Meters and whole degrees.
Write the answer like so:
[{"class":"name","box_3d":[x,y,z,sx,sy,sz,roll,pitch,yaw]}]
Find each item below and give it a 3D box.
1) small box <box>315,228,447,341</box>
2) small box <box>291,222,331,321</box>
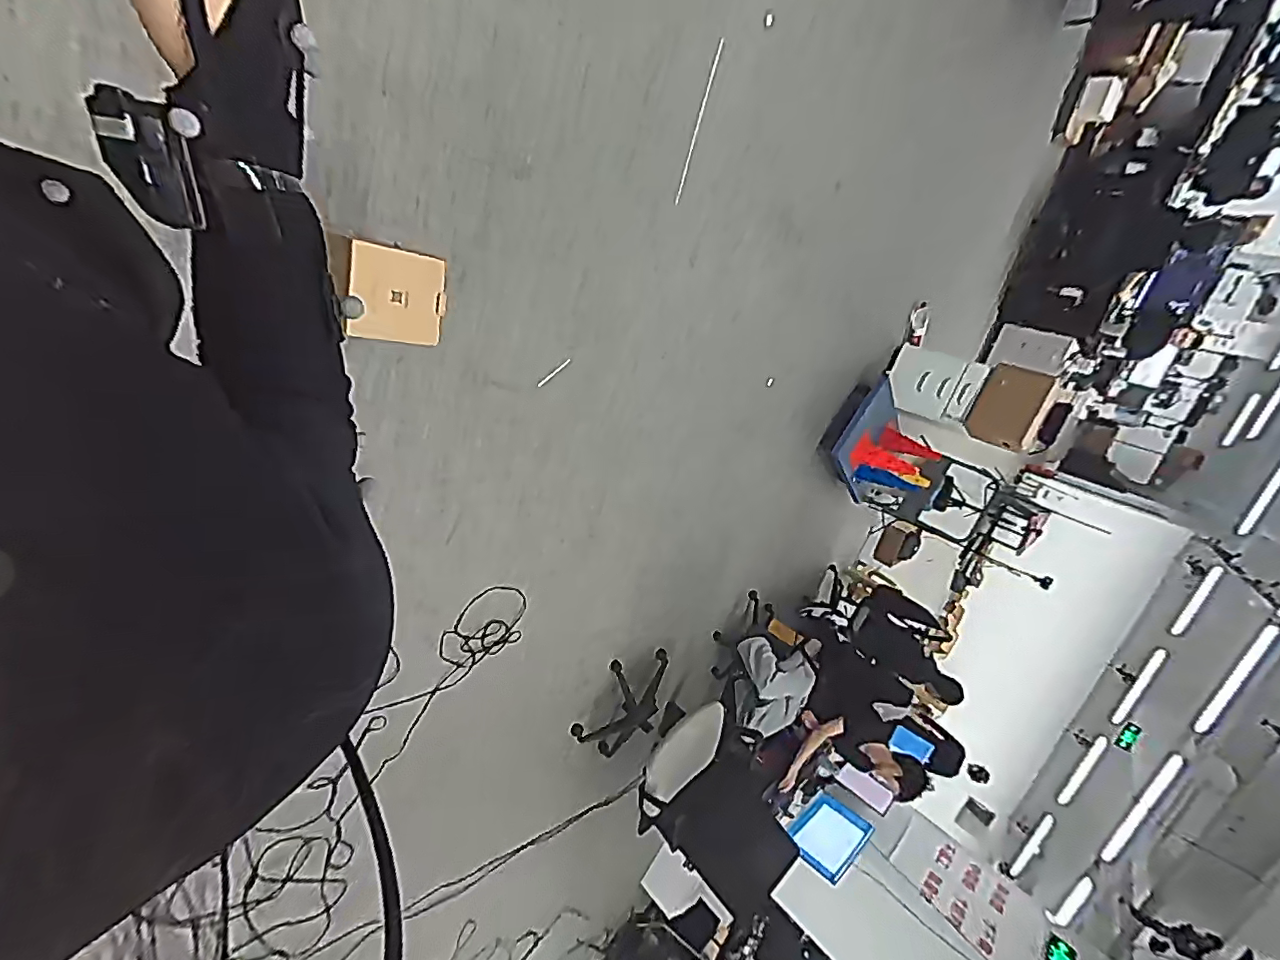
[{"class":"small box","box_3d":[-0.503,-0.378,1.048,0.179,0.176,0.168,-7,118,-46]},{"class":"small box","box_3d":[-0.623,-0.434,1.146,0.168,0.176,0.179,-7,118,-46]}]
